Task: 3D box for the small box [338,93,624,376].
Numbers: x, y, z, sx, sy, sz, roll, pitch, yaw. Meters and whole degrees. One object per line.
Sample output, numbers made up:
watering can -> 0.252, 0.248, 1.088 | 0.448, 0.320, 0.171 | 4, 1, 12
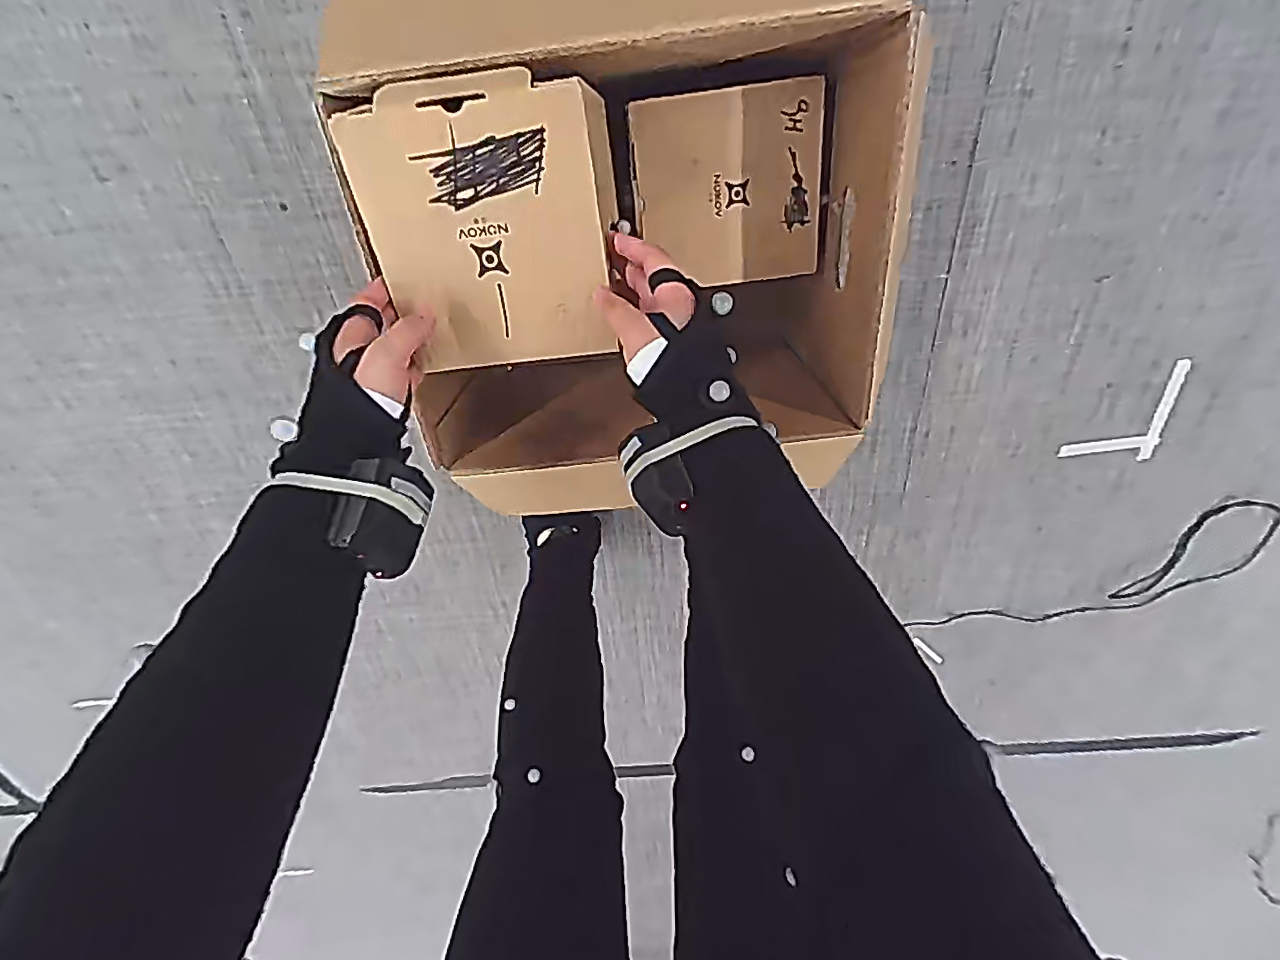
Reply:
small box -> -0.108, -0.207, 0.460 | 0.168, 0.176, 0.179 | -5, 123, 6
